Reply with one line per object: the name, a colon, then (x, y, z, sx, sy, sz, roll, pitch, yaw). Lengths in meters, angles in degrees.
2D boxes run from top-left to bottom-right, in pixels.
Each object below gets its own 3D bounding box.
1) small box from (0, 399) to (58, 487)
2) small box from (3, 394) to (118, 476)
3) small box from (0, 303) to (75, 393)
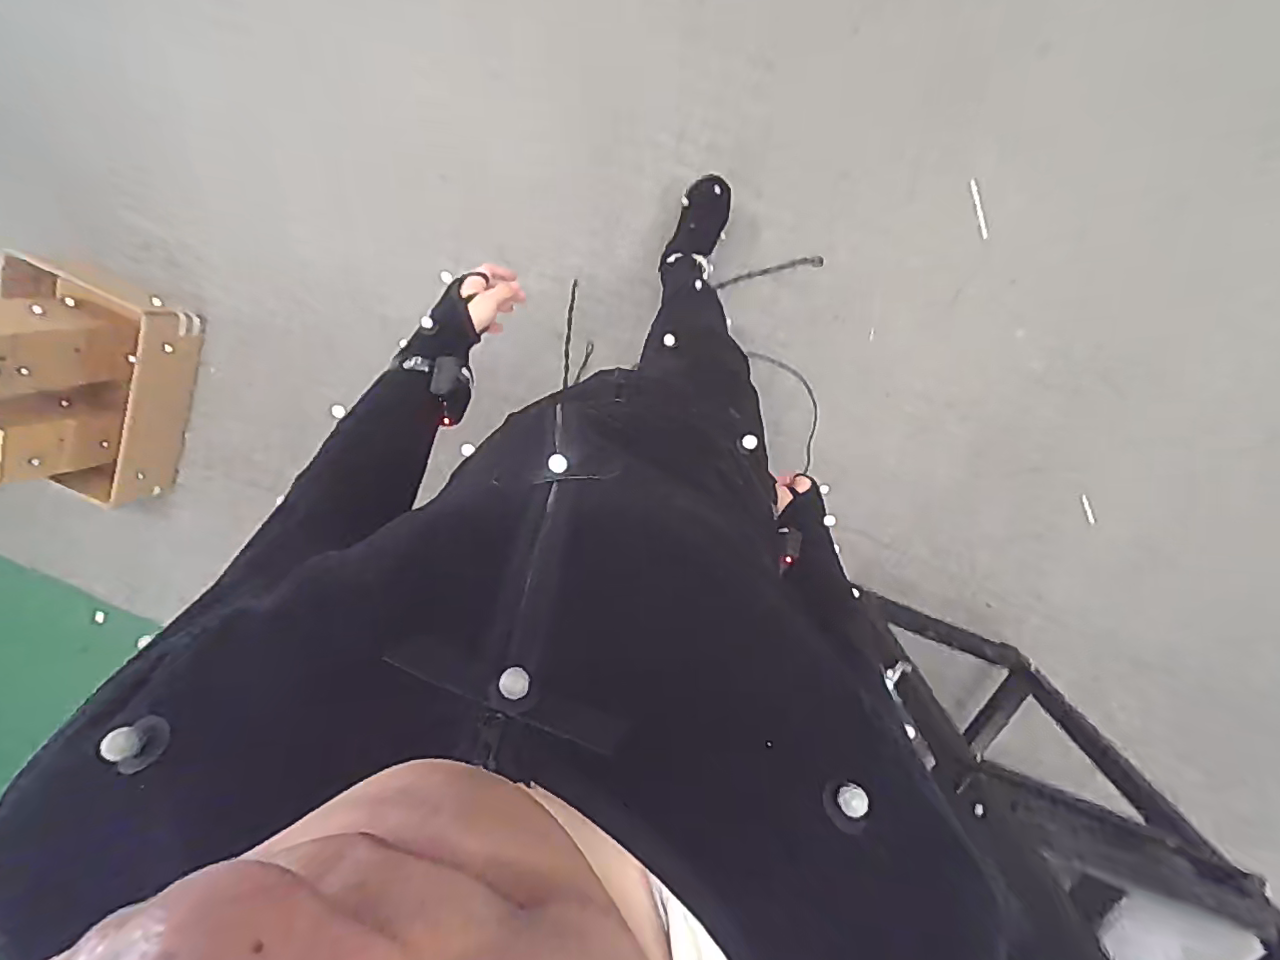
small box: (-1.670, -0.097, 1.389, 0.179, 0.176, 0.168, 24, 106, -3)
small box: (-1.662, -0.136, 1.546, 0.179, 0.176, 0.168, 25, 105, -3)
small box: (-1.555, -0.324, 1.317, 0.179, 0.176, 0.168, 25, 108, -3)
